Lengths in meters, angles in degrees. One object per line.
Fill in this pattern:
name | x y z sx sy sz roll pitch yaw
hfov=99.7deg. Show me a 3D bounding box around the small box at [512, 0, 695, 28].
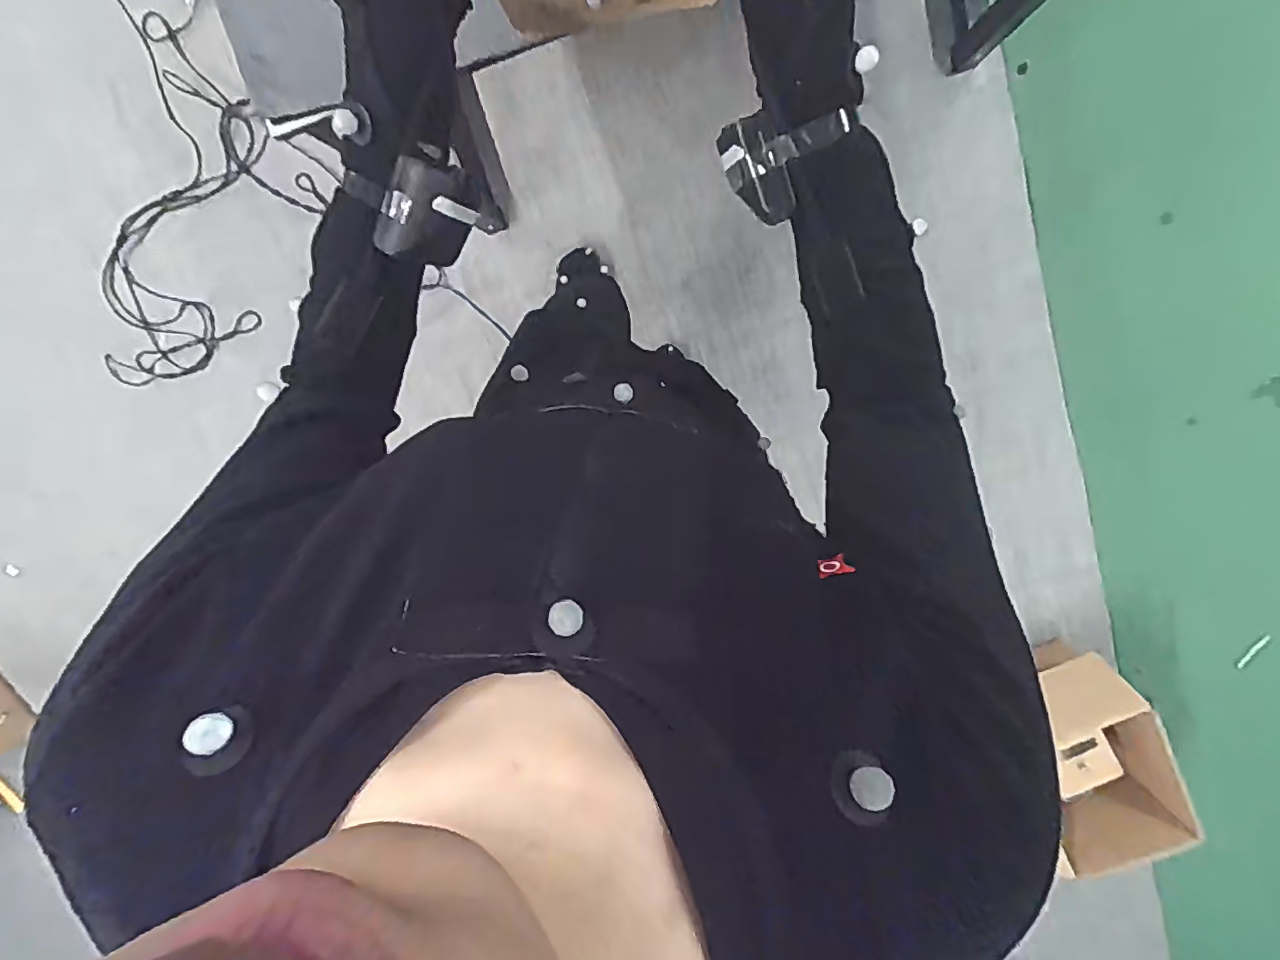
small box | -0.034 -0.433 0.337 0.168 0.176 0.179 -7 111 4
